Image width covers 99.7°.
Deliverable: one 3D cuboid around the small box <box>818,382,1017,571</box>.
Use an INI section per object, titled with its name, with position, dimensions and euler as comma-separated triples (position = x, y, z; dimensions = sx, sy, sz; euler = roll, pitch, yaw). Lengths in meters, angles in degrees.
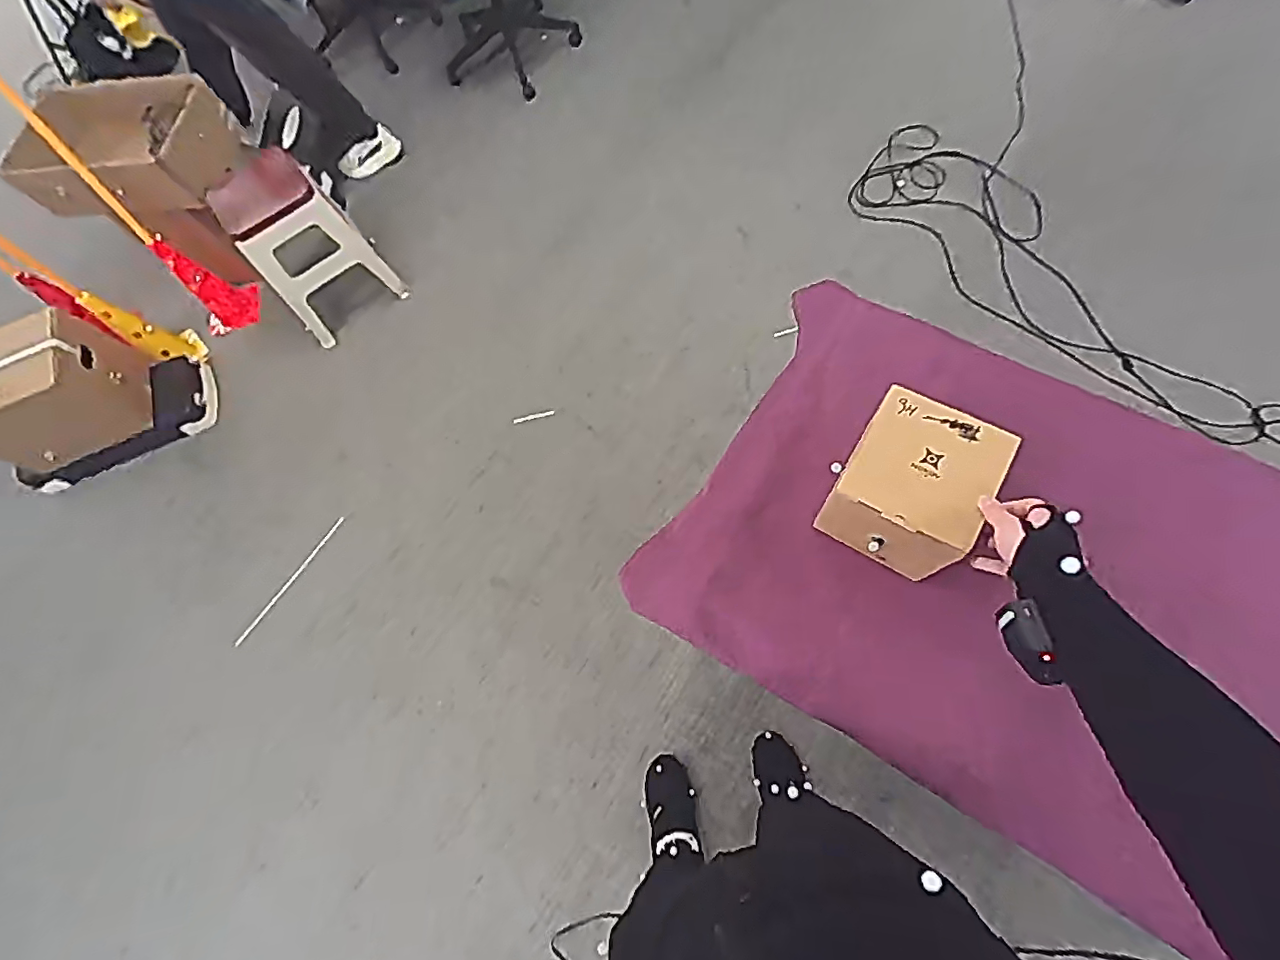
[small box]
position = 0.361, 0.005, 0.741
dimensions = 0.168, 0.176, 0.179
euler = 29, 77, 17
